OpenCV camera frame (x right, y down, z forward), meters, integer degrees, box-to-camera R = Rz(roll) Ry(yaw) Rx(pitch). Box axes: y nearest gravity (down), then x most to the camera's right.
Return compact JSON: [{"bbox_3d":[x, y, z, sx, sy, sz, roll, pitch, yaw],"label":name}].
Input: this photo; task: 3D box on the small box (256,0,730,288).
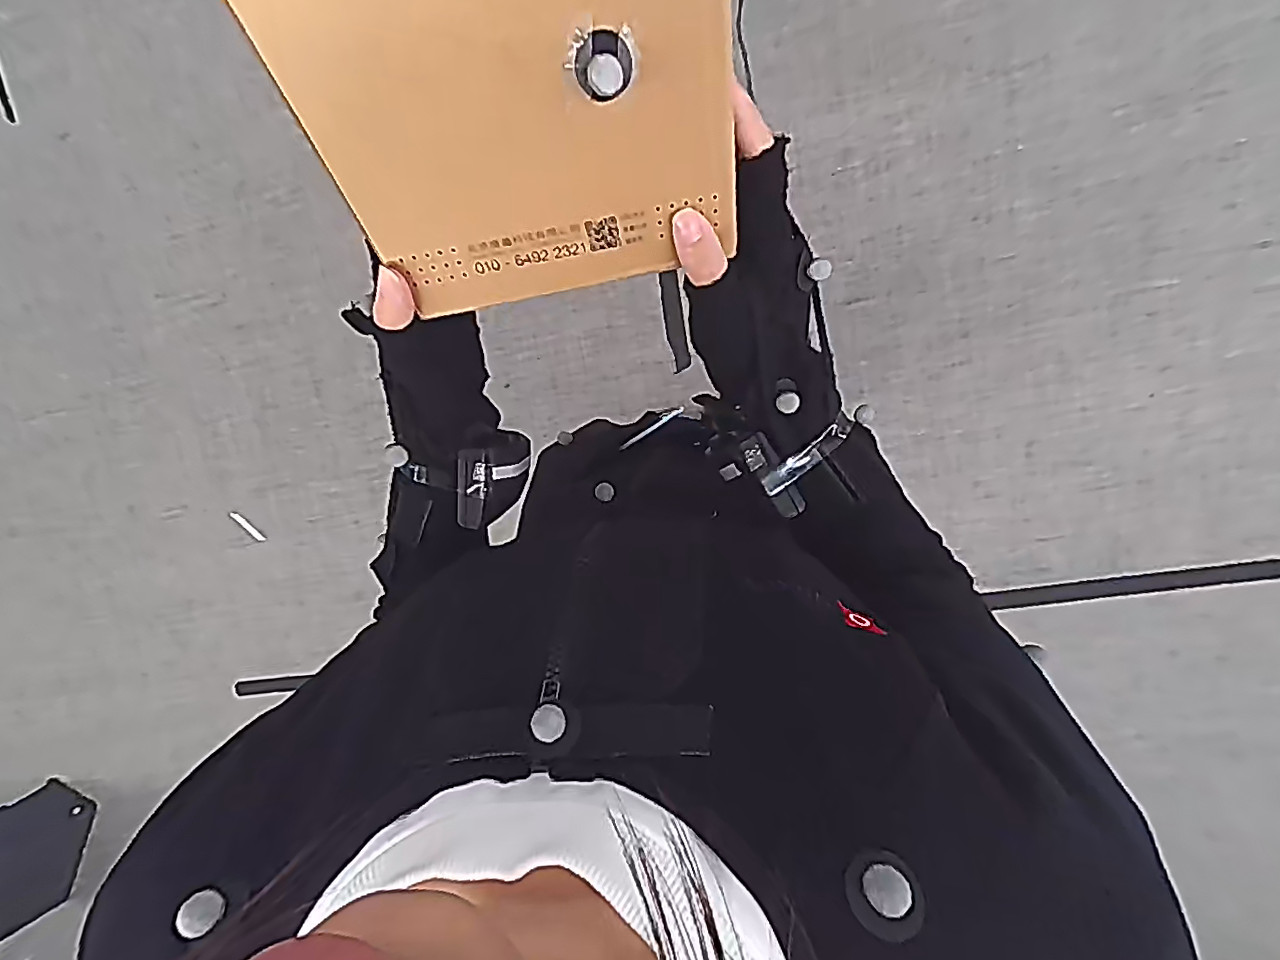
[{"bbox_3d":[-0.050,-0.216,0.274,0.168,0.176,0.179,-8,53,5],"label":"small box"}]
